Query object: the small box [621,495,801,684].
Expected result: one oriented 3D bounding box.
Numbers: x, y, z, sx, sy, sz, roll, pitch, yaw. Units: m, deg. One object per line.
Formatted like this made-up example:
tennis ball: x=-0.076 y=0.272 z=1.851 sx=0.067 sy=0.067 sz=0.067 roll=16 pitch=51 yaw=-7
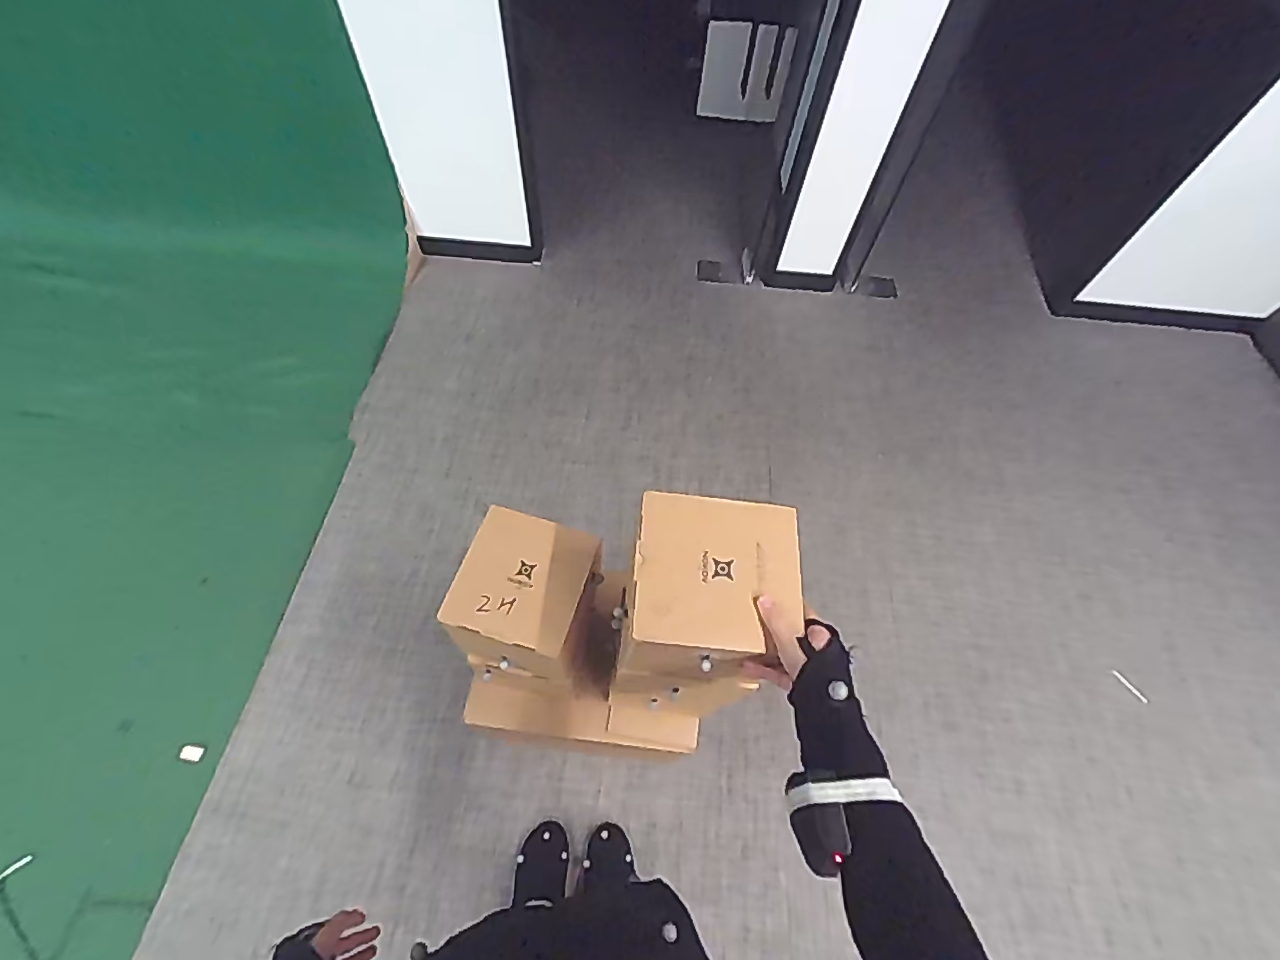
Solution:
small box: x=0.073 y=0.135 z=0.633 sx=0.179 sy=0.176 sz=0.168 roll=7 pitch=61 yaw=-2
